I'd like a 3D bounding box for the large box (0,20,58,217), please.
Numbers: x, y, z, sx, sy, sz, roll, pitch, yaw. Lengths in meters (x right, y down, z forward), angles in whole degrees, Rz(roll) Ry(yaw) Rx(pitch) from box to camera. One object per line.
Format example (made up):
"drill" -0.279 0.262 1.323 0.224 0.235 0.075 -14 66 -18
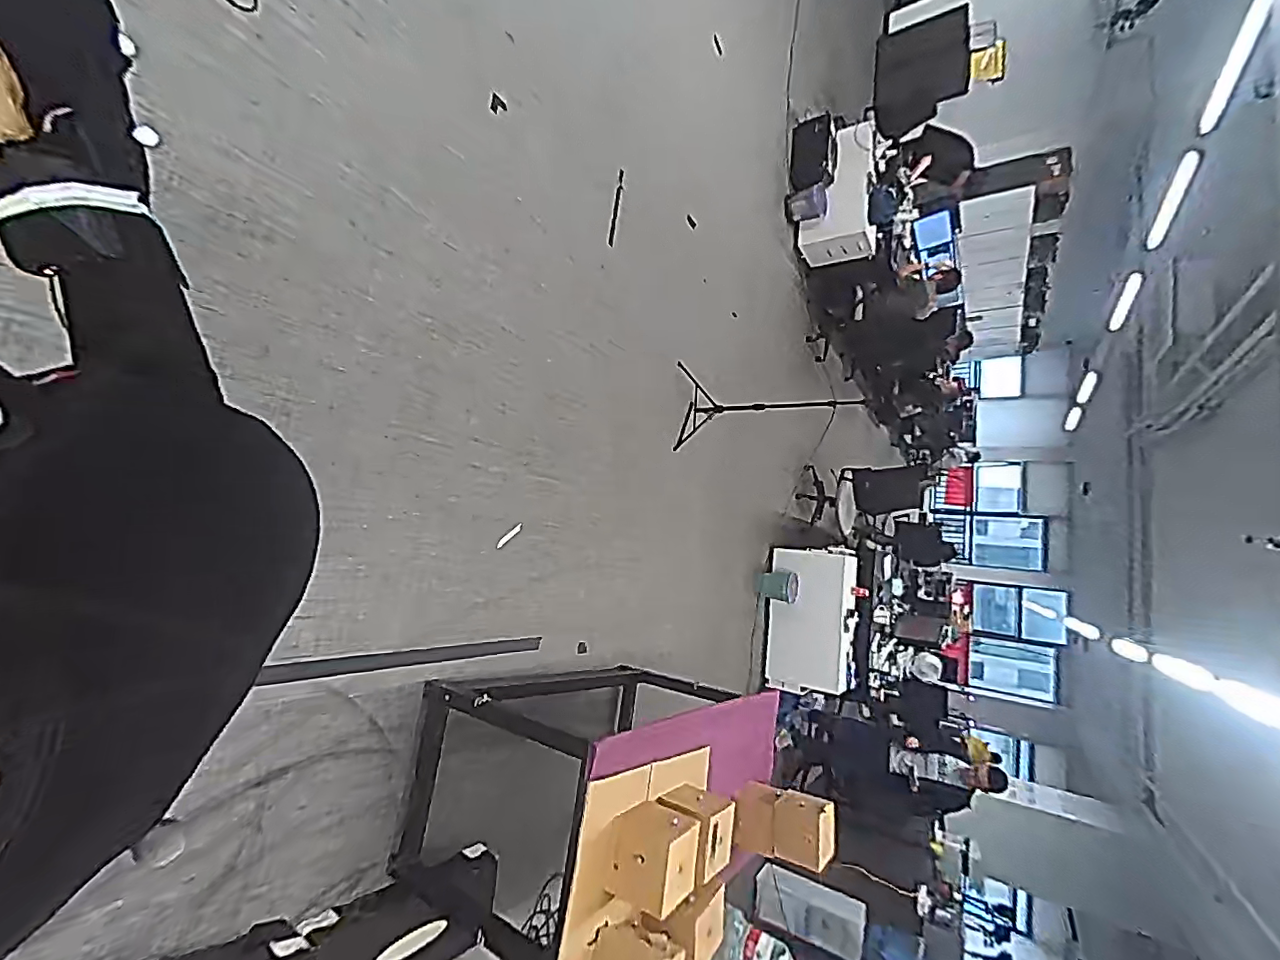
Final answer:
"large box" -0.652 -0.307 0.258 0.408 0.320 0.320 -29 123 -52
